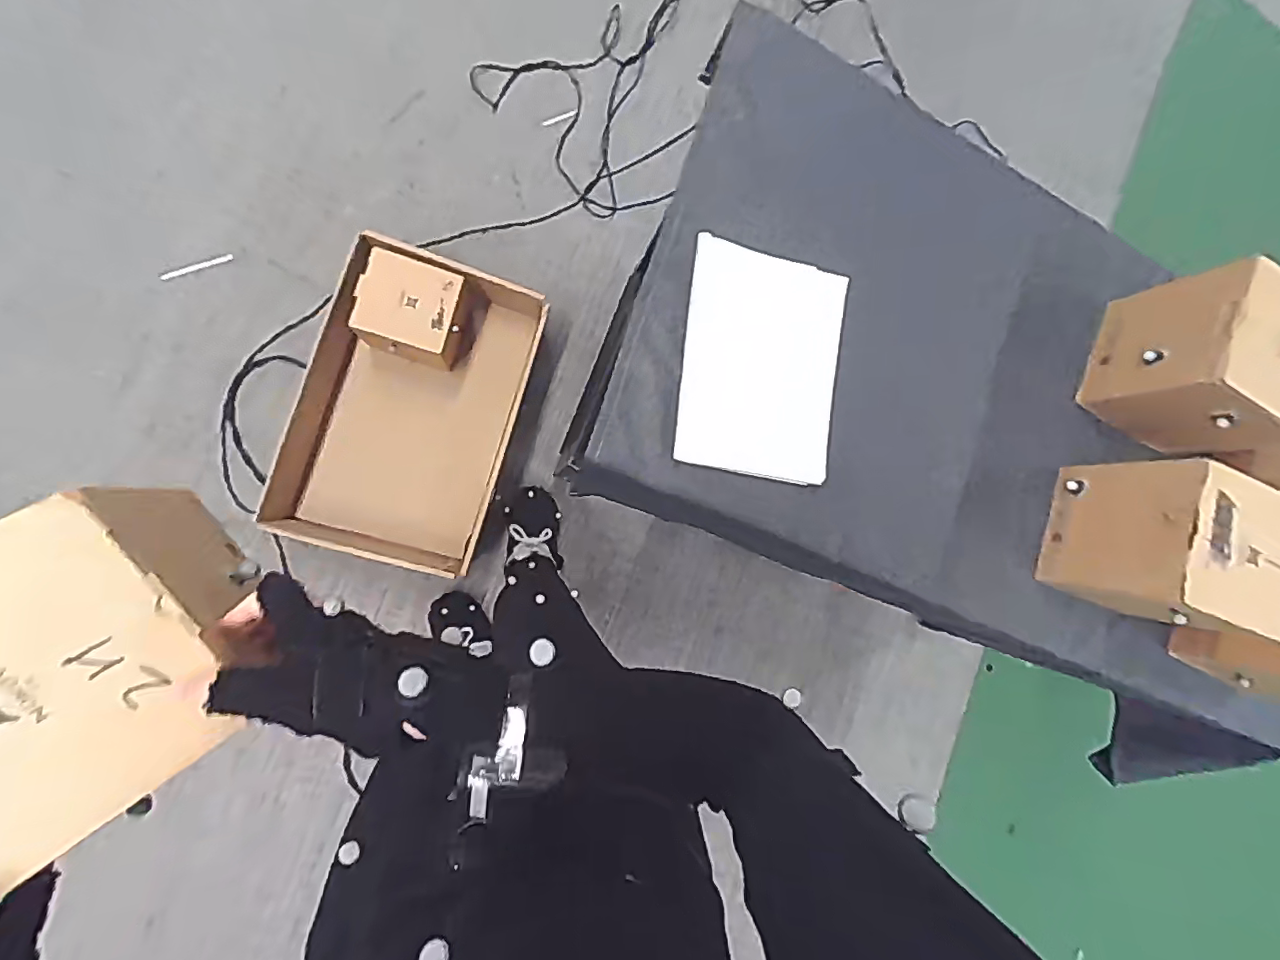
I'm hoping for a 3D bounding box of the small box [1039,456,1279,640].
[{"bbox_3d":[0.656,0.081,0.683,0.179,0.176,0.168,20,84,-13],"label":"small box"}]

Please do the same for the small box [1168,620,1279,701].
[{"bbox_3d":[0.883,0.201,0.736,0.168,0.176,0.179,26,83,-11],"label":"small box"}]
